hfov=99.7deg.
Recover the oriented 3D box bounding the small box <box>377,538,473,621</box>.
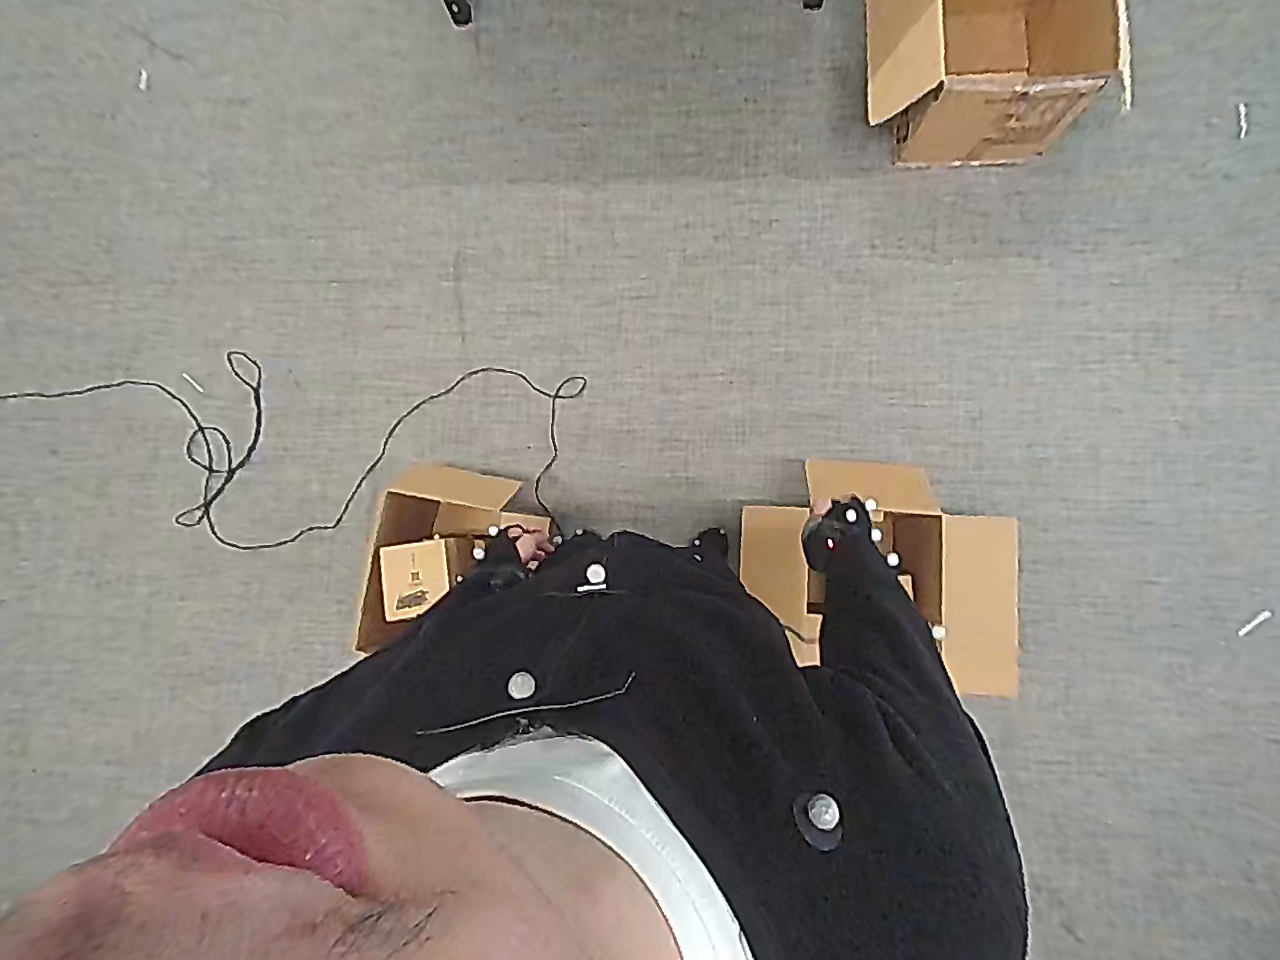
[{"bbox_3d":[-0.524,0.240,1.338,0.168,0.176,0.179,-5,85,4],"label":"small box"}]
